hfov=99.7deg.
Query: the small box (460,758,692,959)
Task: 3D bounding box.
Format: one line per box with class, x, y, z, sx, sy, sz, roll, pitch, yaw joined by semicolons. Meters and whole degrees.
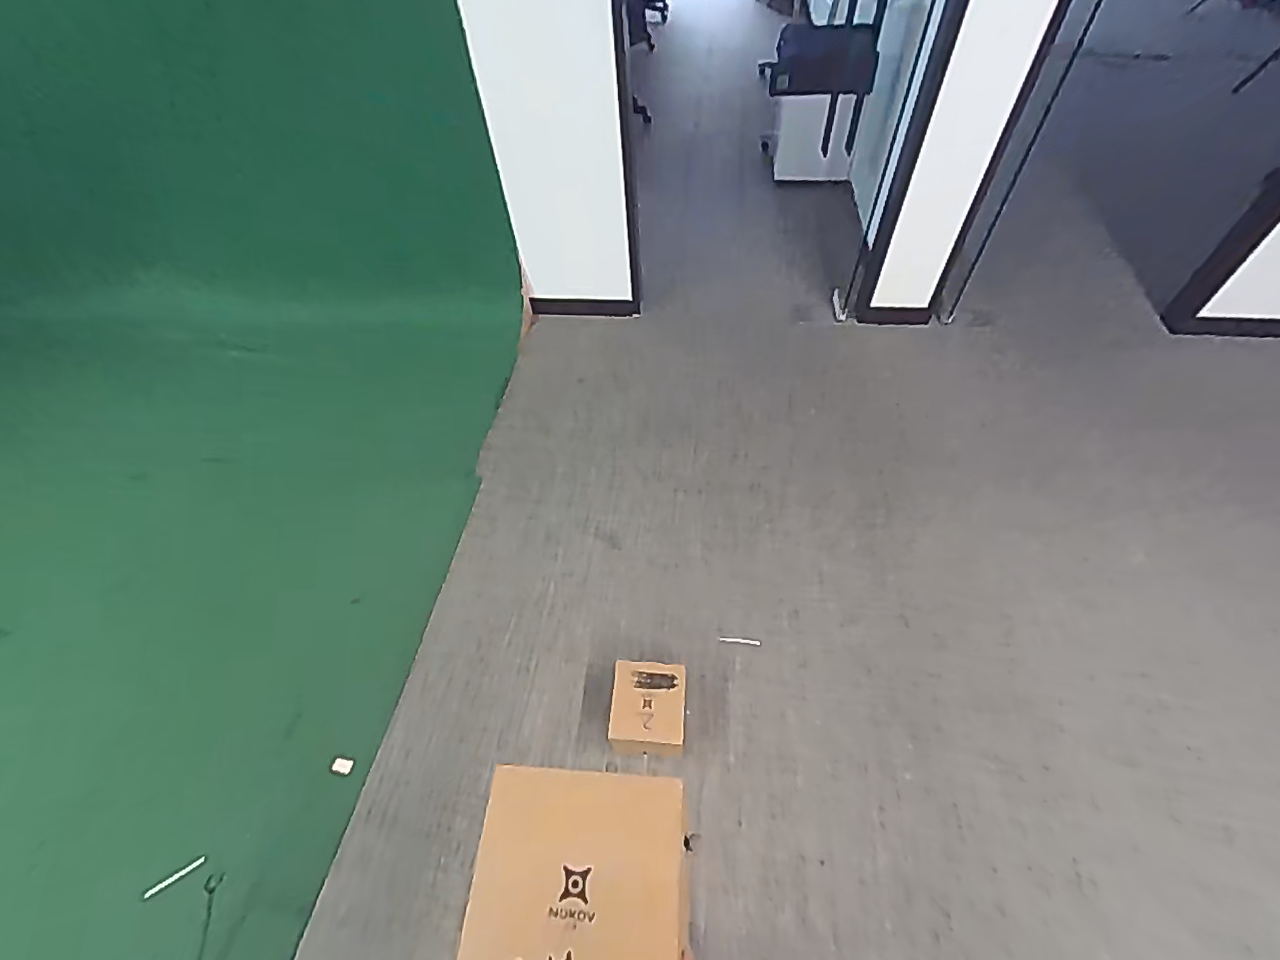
small box;-0.041;0.368;0.492;0.168;0.176;0.179;0;56;9
